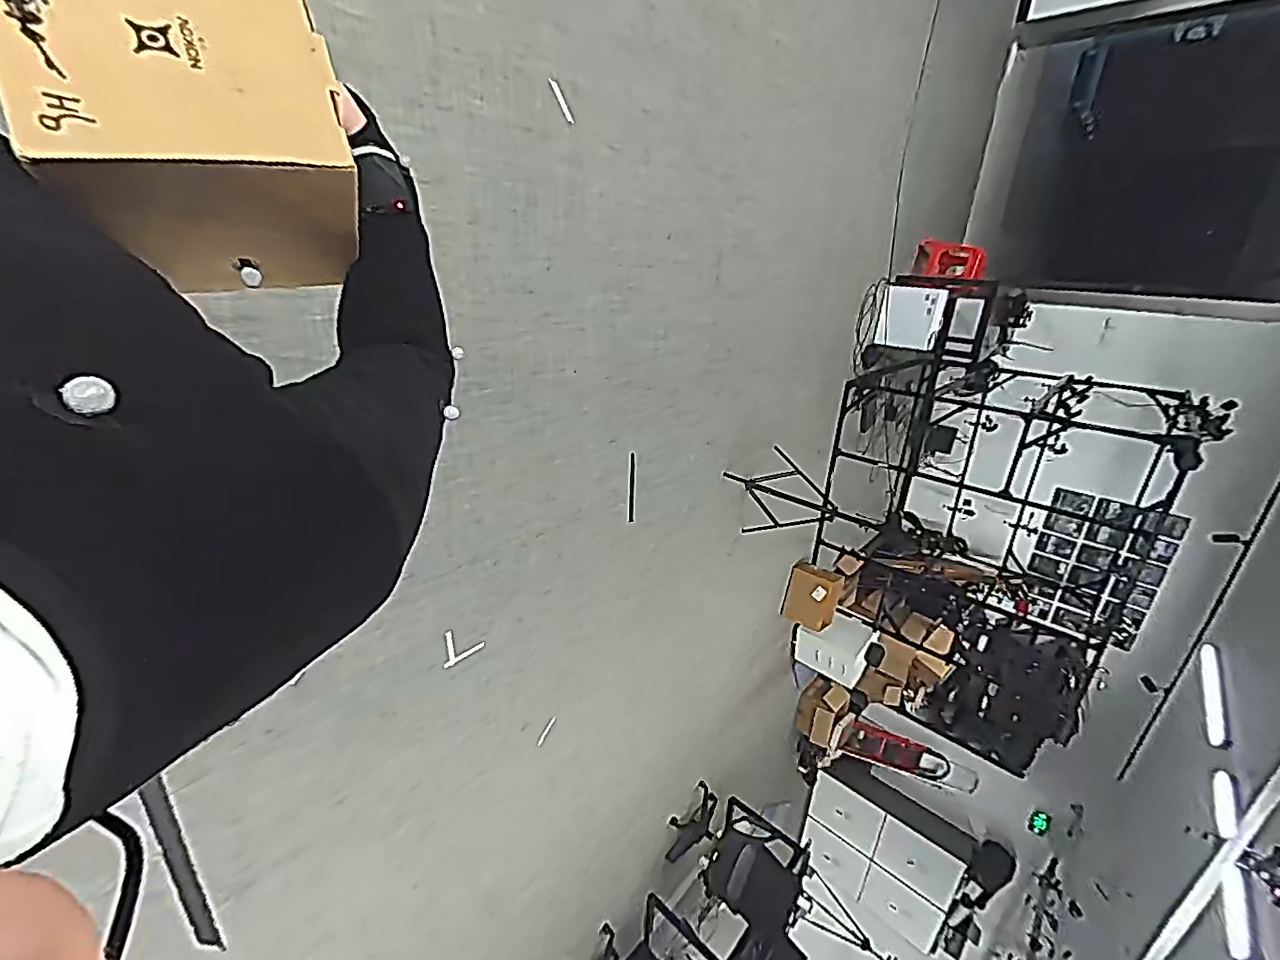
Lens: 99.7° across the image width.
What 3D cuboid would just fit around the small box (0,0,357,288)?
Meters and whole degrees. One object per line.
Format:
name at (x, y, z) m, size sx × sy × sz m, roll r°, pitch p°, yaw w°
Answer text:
small box at (-0.342, -0.270, 0.430) m, size 0.179 × 0.176 × 0.168 m, roll -16°, pitch 87°, yaw -29°
